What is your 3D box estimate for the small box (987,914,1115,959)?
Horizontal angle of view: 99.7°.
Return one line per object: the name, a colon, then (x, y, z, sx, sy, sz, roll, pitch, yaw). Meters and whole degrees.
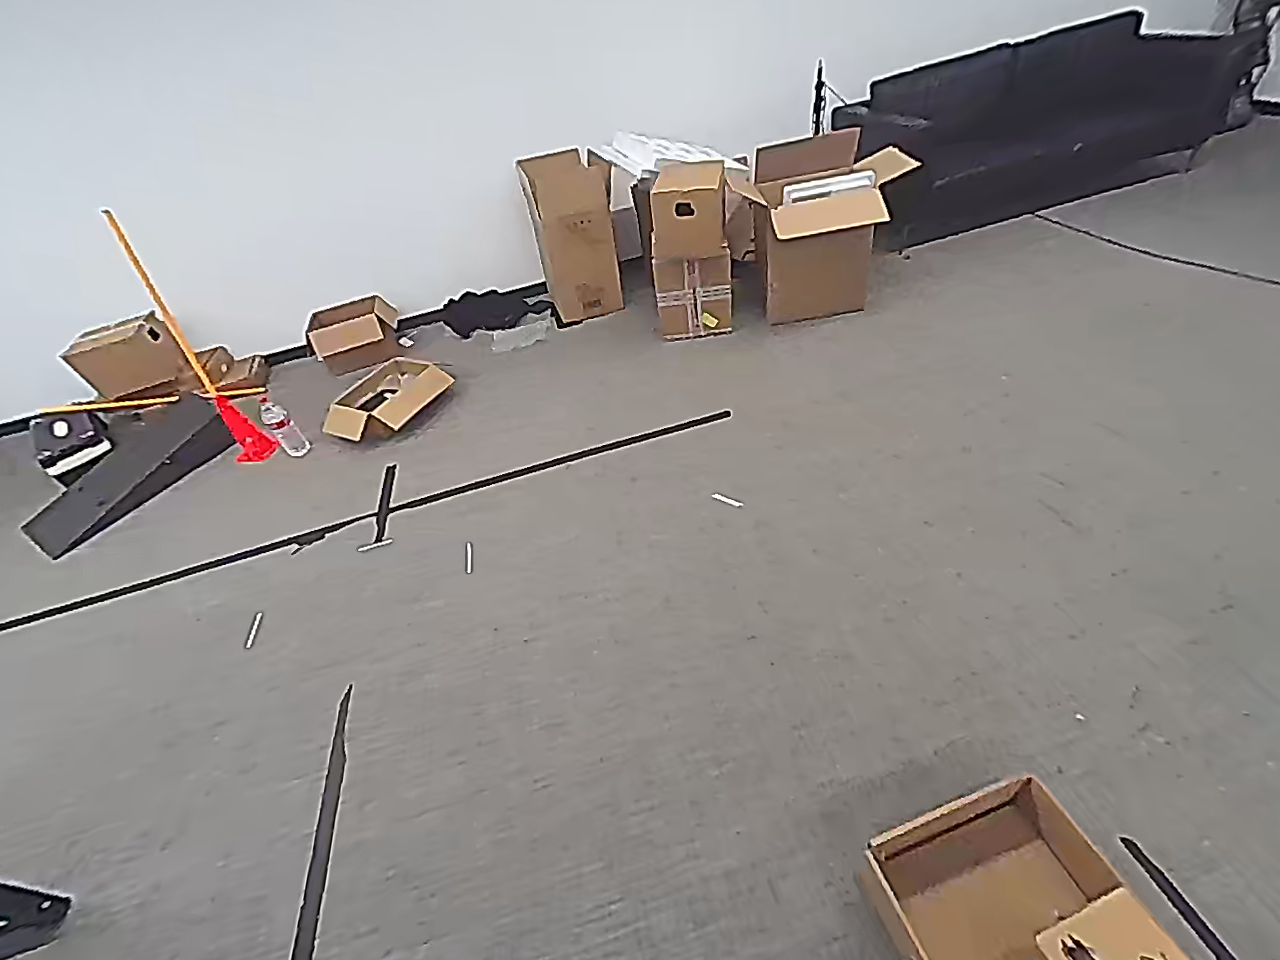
small box: (0.720, 0.887, 0.923, 0.179, 0.176, 0.168, -20, 42, -9)
